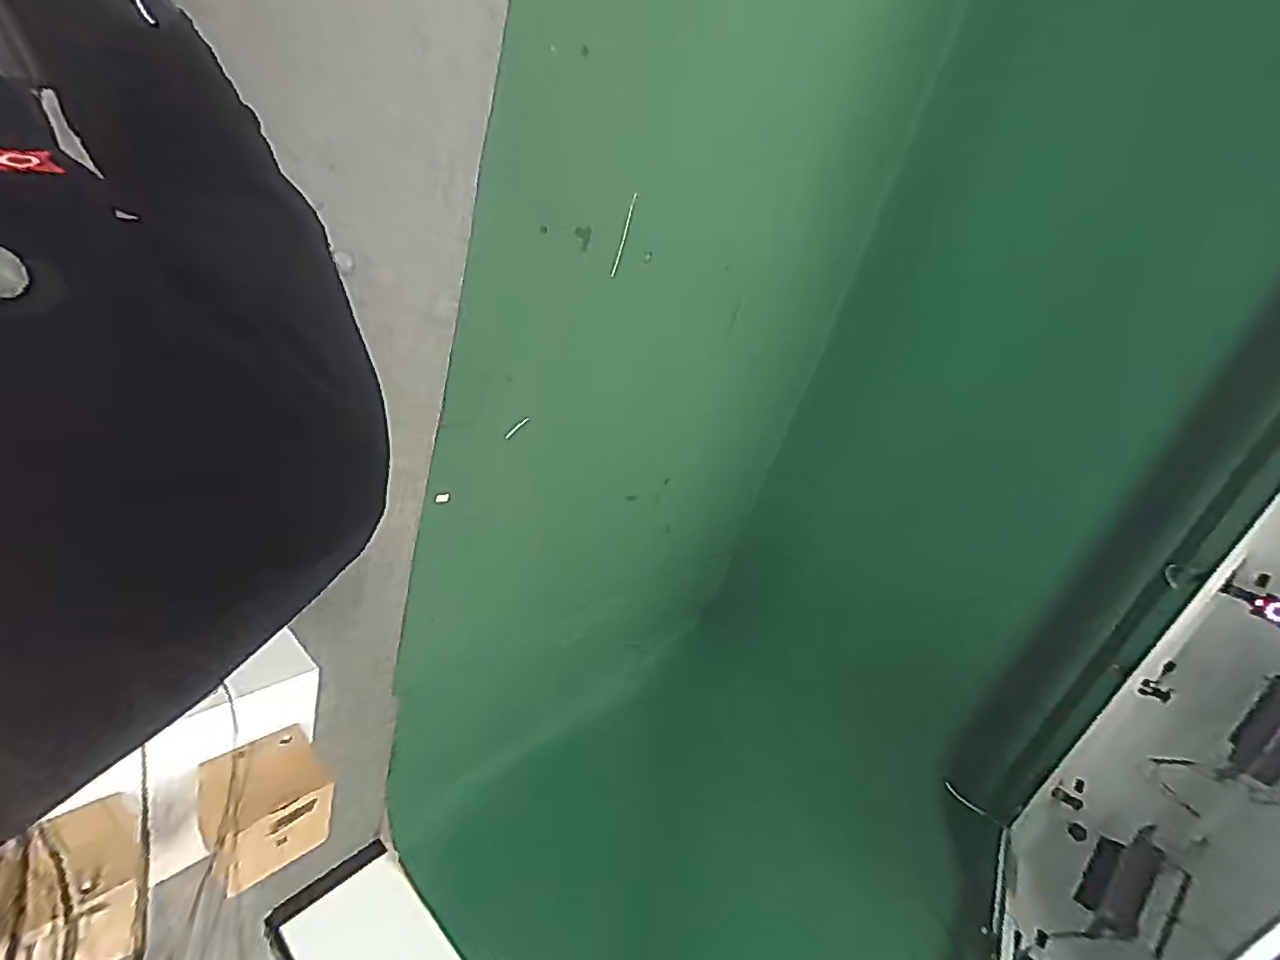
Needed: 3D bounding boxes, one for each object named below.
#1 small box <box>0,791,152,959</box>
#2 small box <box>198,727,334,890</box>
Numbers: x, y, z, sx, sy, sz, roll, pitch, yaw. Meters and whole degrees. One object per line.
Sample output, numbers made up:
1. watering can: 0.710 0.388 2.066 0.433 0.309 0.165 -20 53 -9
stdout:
1. small box: -0.865 0.617 0.805 0.168 0.176 0.179 -8 123 -55
2. small box: -0.712 0.605 1.027 0.168 0.176 0.179 -10 125 -52
